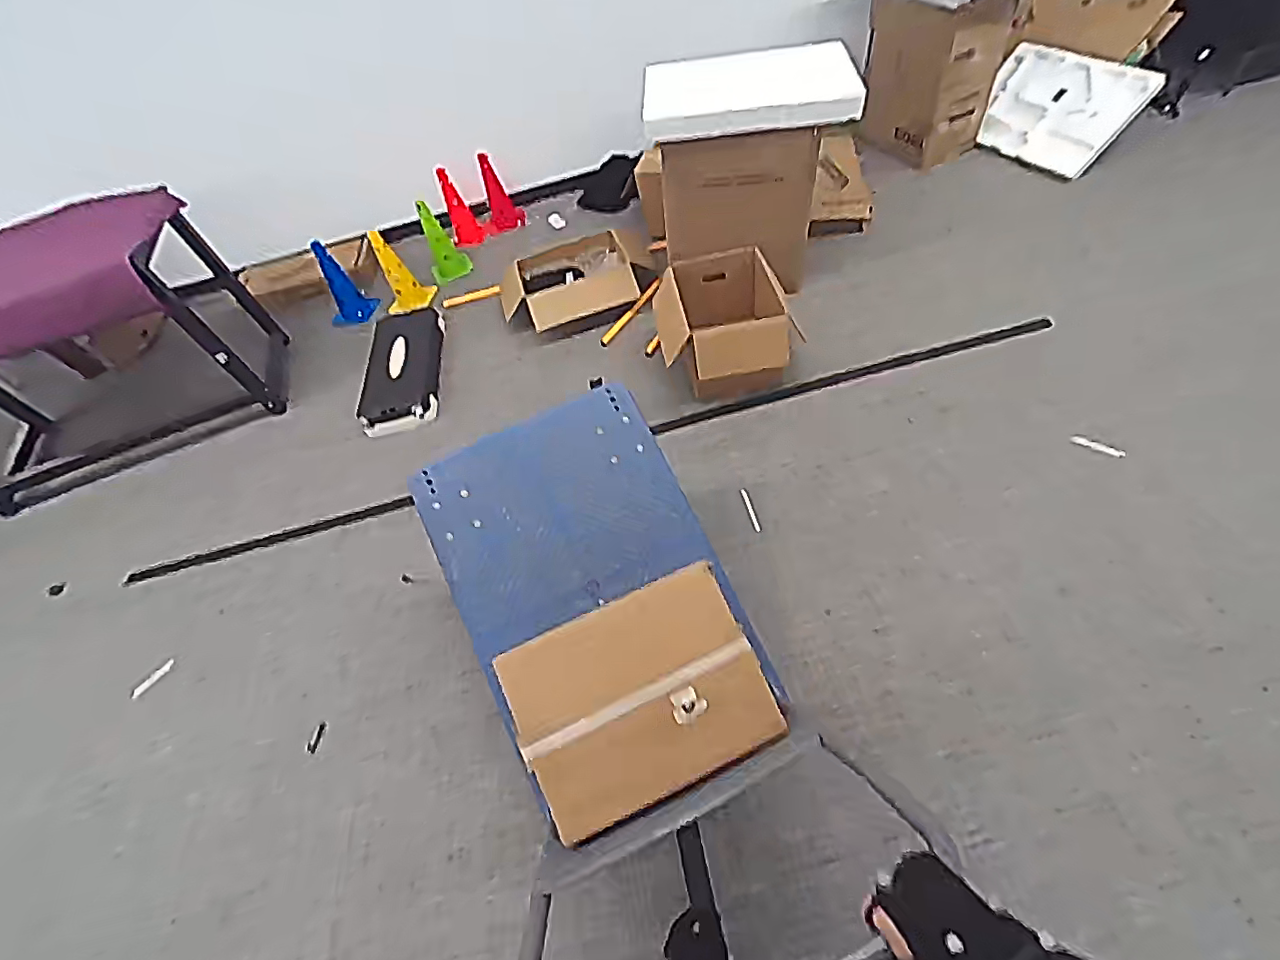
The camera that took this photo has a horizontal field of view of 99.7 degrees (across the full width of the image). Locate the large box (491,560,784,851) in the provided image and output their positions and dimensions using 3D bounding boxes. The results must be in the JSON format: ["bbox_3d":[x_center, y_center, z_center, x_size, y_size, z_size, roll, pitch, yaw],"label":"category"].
[{"bbox_3d":[-0.012,0.391,1.027,0.408,0.320,0.320,-25,80,-8],"label":"large box"}]
